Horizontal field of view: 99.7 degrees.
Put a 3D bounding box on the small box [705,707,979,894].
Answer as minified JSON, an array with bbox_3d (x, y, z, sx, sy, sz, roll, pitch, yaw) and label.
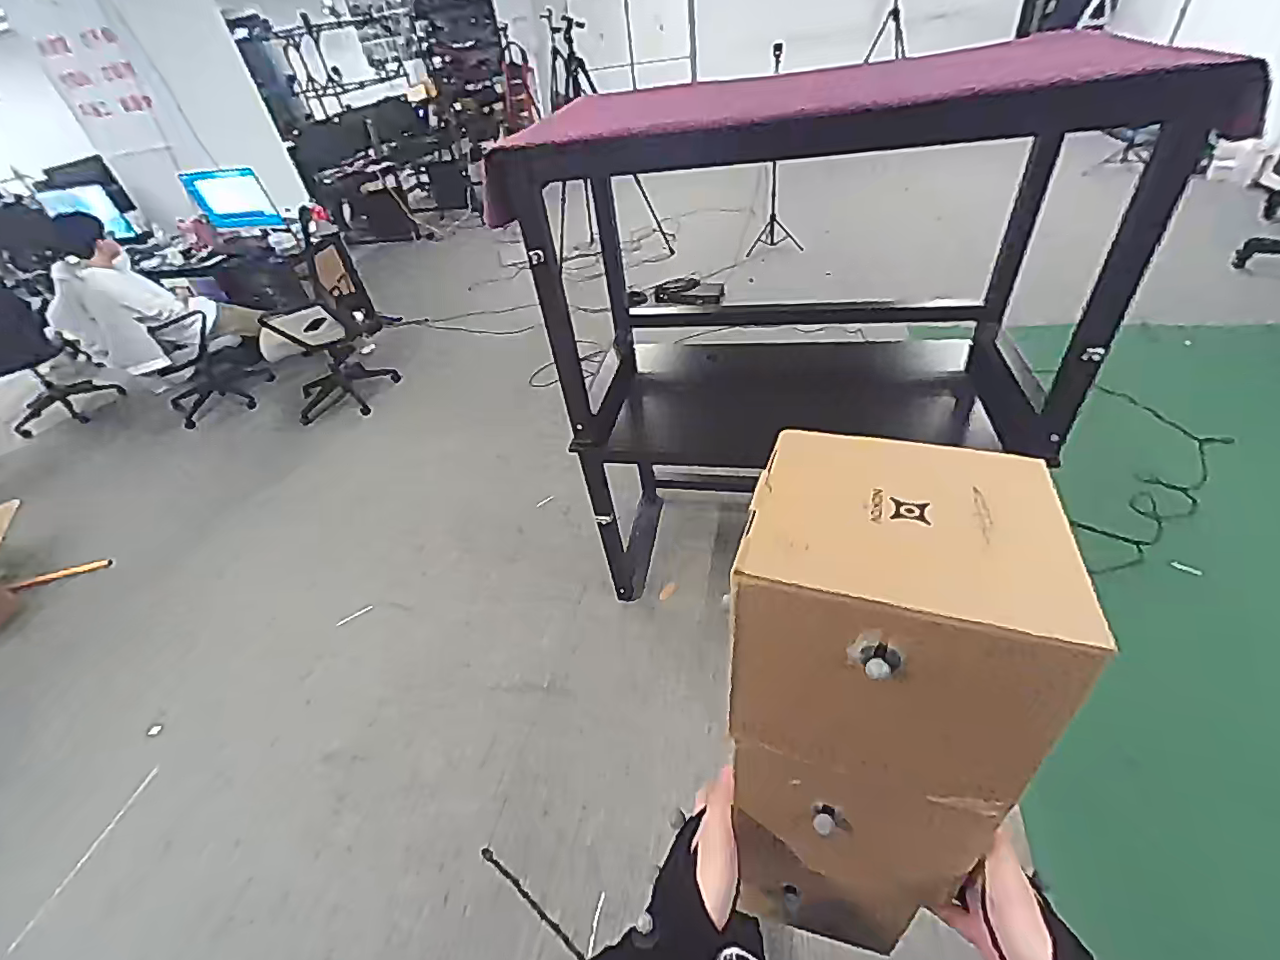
[{"bbox_3d":[0.157,0.207,0.459,0.179,0.176,0.168,9,37,17],"label":"small box"}]

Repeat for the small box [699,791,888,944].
[{"bbox_3d":[0.160,0.334,0.563,0.168,0.176,0.179,8,36,16],"label":"small box"}]

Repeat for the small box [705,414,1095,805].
[{"bbox_3d":[0.148,0.076,0.360,0.179,0.176,0.168,12,38,20],"label":"small box"}]
